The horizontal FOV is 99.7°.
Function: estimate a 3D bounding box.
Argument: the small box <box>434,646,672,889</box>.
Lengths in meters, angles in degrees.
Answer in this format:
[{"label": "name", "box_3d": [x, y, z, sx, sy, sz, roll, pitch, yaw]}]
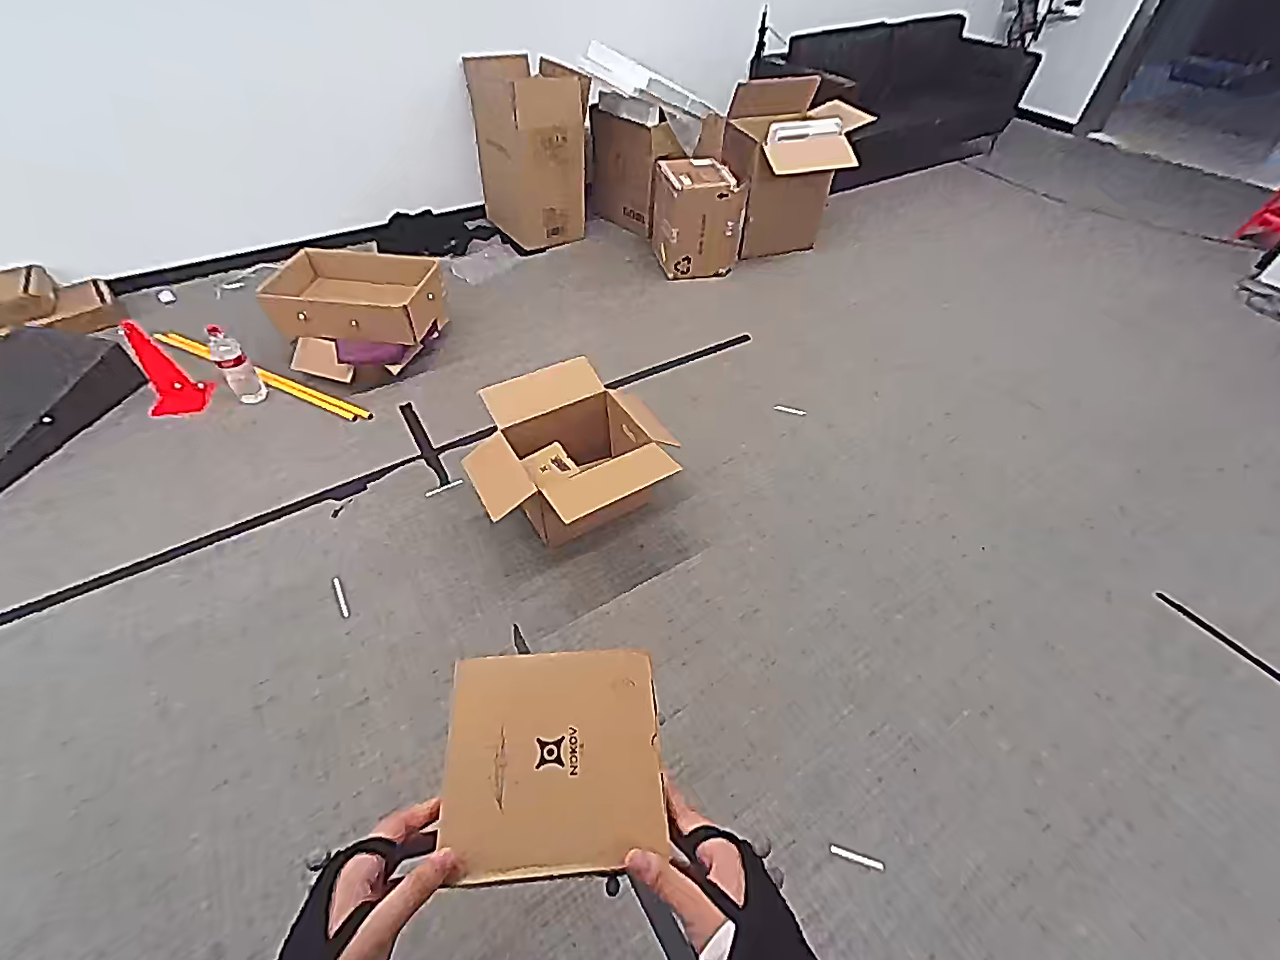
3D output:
[{"label": "small box", "box_3d": [-0.074, 0.269, 0.505, 0.179, 0.176, 0.168, -4, 53, -6]}]
